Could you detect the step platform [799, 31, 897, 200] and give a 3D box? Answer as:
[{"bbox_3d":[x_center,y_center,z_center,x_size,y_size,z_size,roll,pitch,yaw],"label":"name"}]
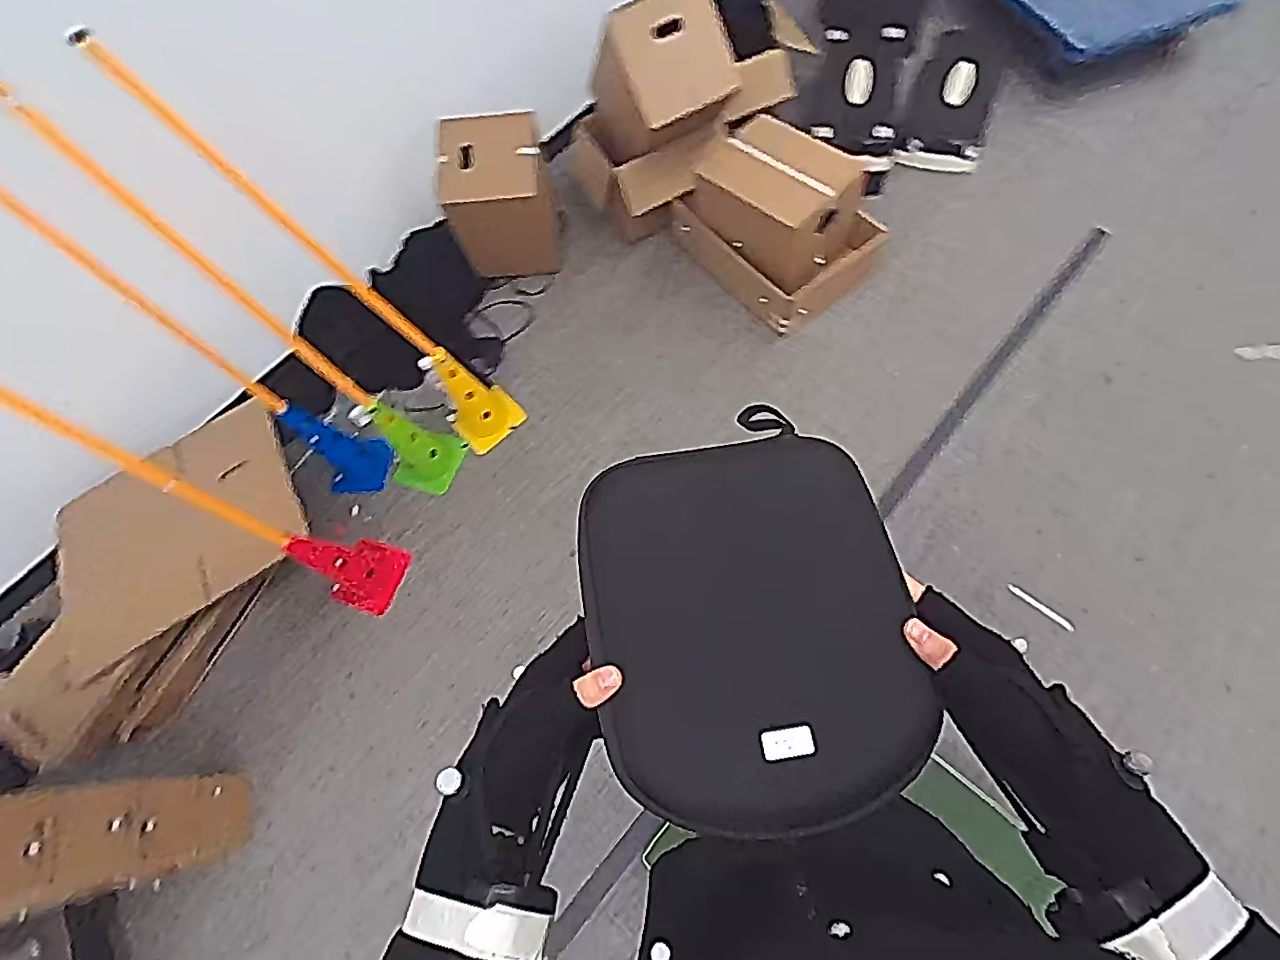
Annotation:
[{"bbox_3d":[0.773,-1.362,2.003,0.286,0.204,0.684,8,68,13],"label":"step platform"}]
